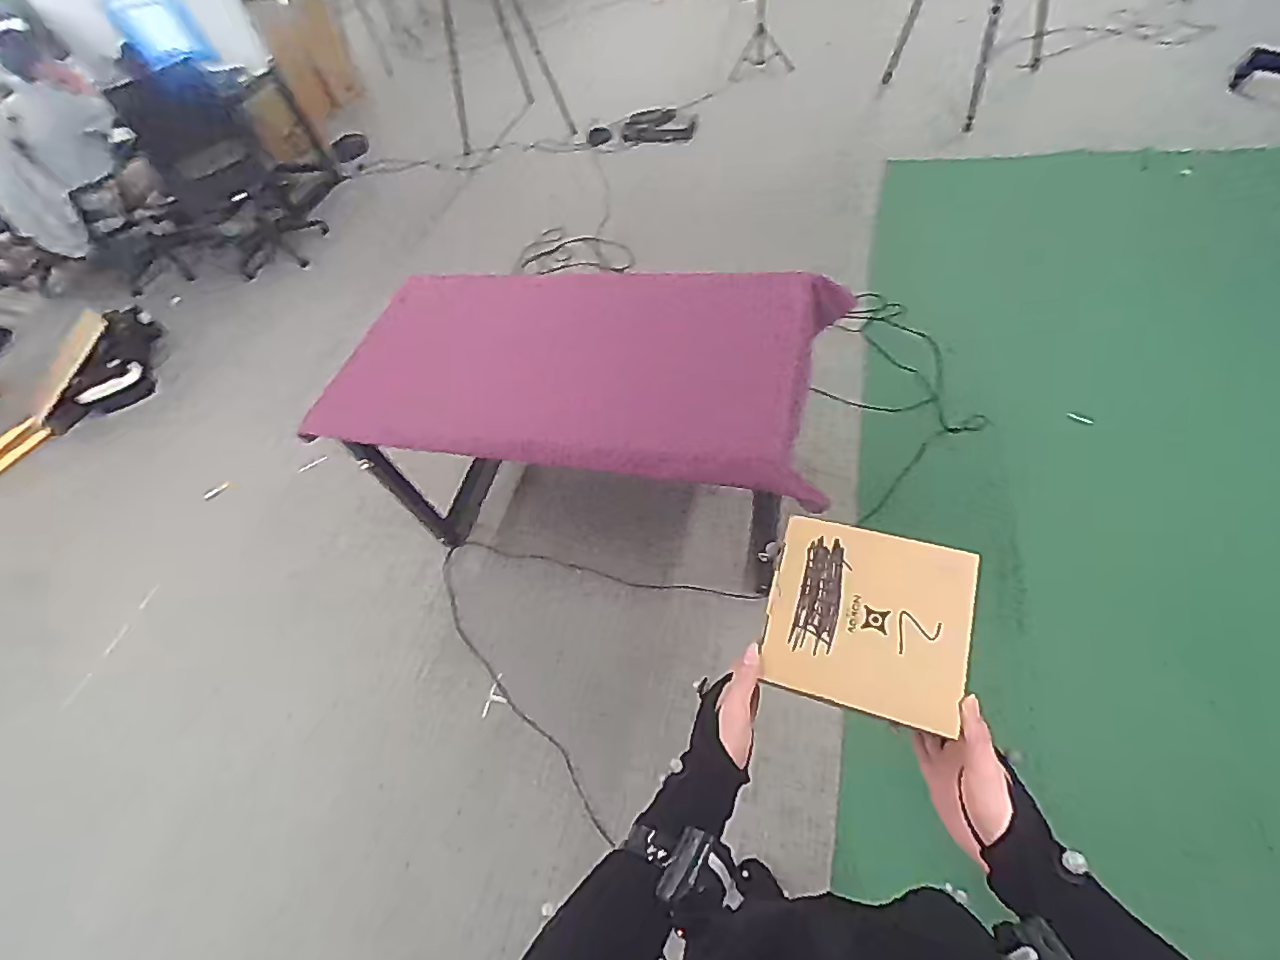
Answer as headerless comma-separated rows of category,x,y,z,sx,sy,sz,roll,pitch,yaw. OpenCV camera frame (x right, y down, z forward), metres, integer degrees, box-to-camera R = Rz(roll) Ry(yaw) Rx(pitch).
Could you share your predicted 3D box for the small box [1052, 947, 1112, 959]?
small box,0.899,0.999,0.992,0.168,0.176,0.179,4,56,15
